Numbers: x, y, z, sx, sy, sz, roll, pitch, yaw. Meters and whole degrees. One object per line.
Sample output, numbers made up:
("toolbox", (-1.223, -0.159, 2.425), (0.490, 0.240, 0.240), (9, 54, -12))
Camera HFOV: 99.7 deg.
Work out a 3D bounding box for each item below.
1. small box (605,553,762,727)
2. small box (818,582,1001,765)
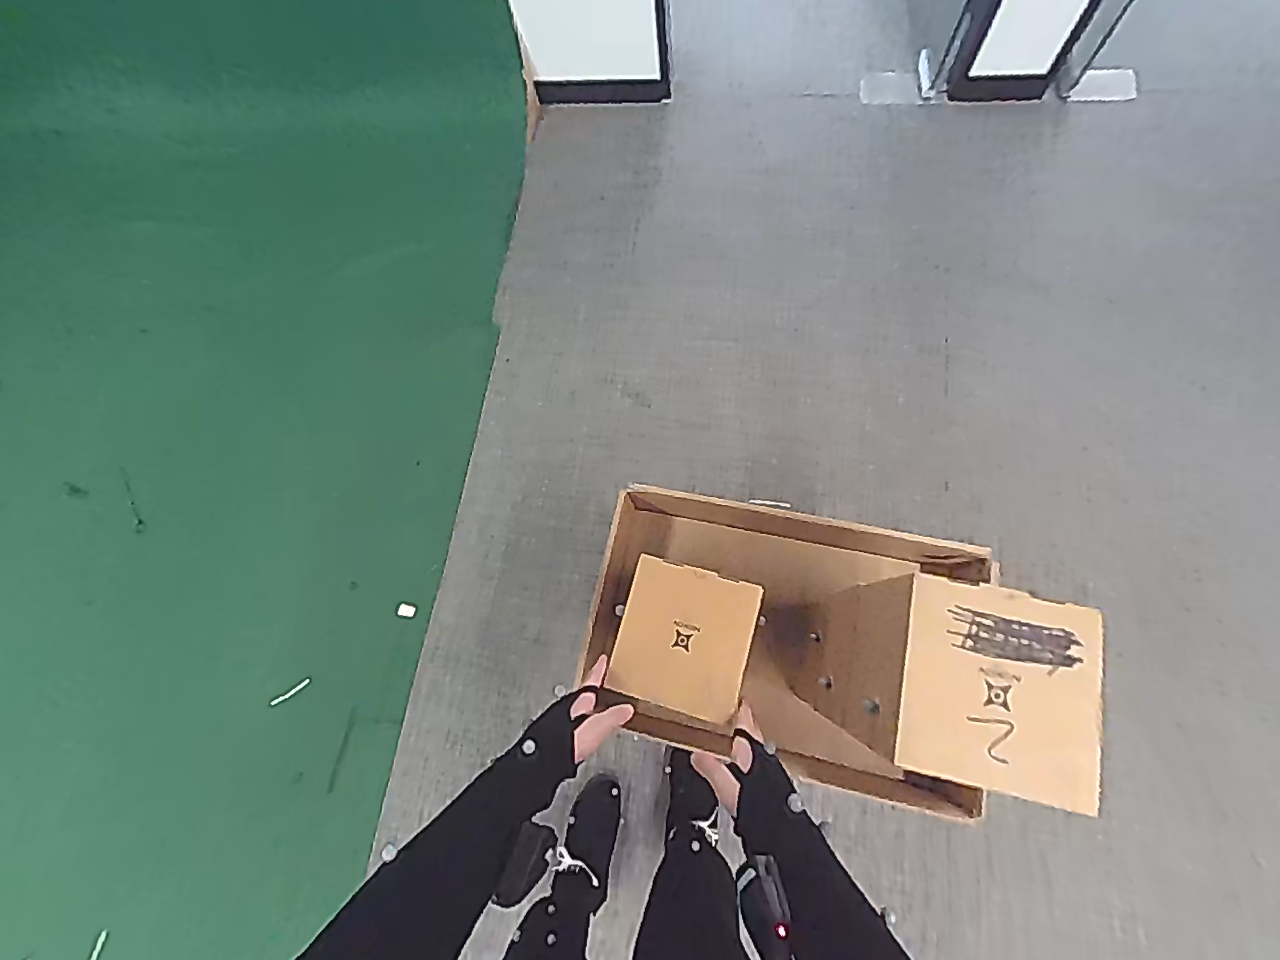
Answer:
("small box", (0.066, 0.219, 0.757), (0.168, 0.176, 0.179), (14, 75, 11))
("small box", (0.342, 0.245, 0.714), (0.168, 0.176, 0.179), (11, 75, 9))
